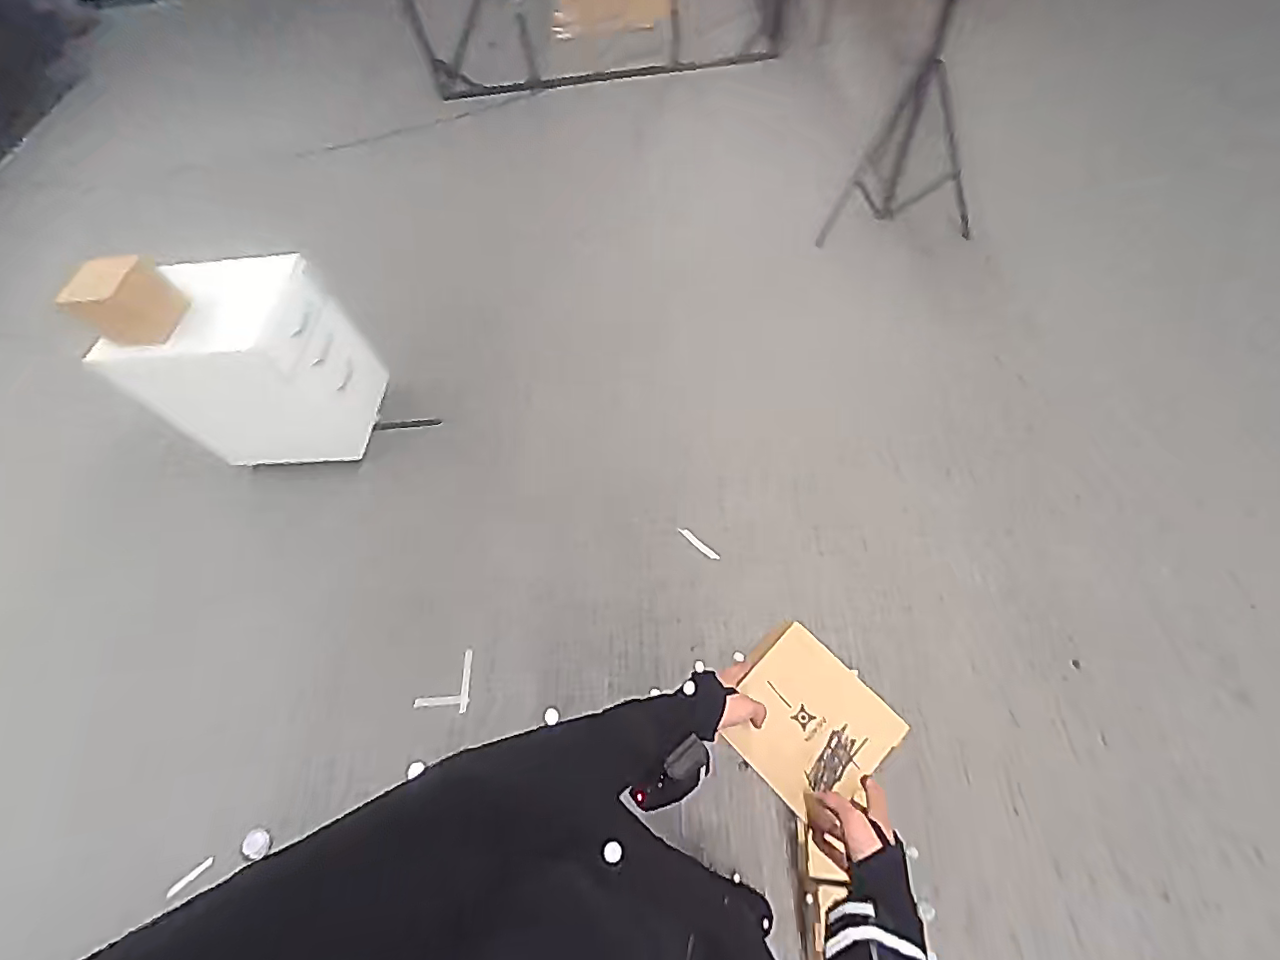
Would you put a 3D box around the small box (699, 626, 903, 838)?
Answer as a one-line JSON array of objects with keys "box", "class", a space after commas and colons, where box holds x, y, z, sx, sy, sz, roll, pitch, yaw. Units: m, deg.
[{"box": [0.196, 0.313, 0.712, 0.179, 0.176, 0.168, 43, 78, 15], "class": "small box"}]

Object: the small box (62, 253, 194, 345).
[{"box": [-1.389, -0.495, 1.486, 0.168, 0.176, 0.179, -1, 59, 7], "class": "small box"}]
